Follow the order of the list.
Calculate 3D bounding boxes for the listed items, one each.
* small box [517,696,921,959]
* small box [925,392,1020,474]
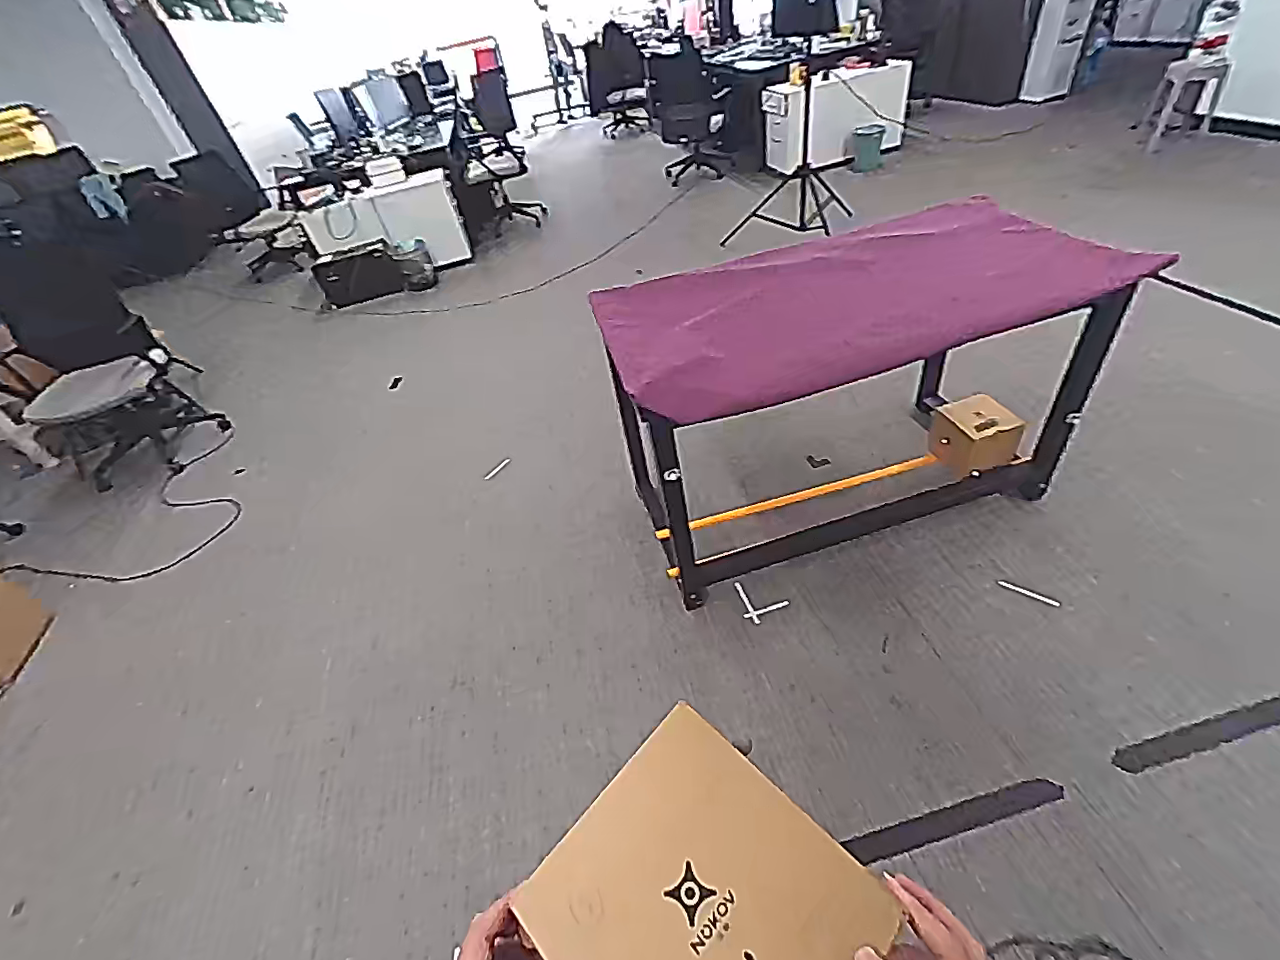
[{"bbox_3d":[0.052,0.292,0.374,0.179,0.176,0.168,35,68,31],"label":"small box"},{"bbox_3d":[1.008,-0.137,1.655,0.168,0.176,0.179,-17,41,-3],"label":"small box"}]
